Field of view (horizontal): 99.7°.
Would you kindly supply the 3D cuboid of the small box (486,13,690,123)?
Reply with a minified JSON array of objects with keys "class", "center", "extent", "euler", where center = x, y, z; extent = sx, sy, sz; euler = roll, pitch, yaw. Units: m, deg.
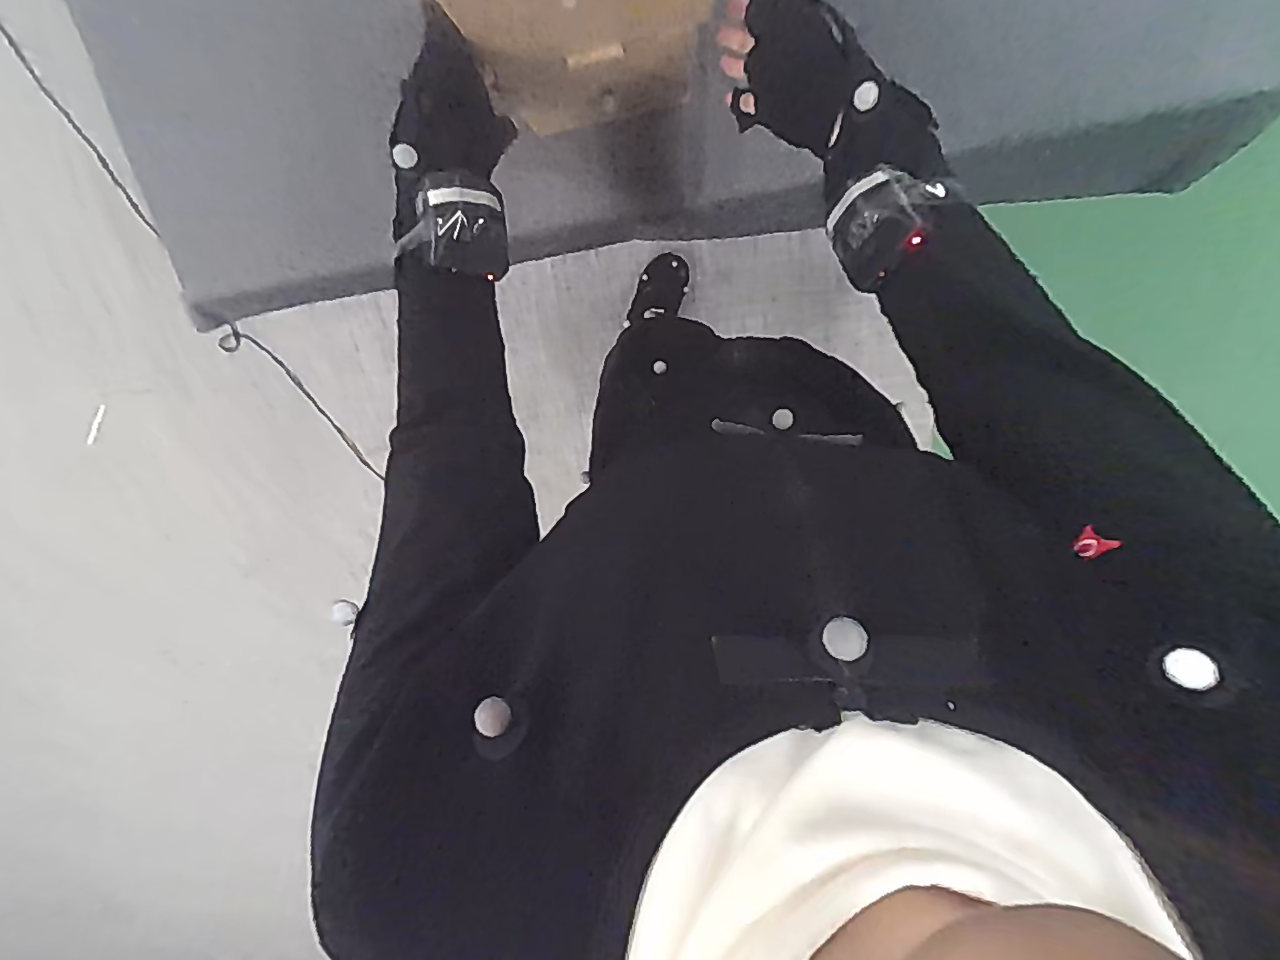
[{"class":"small box","center":[-0.049,-0.437,0.468],"extent":[0.168,0.176,0.179],"euler":[-9,109,6]}]

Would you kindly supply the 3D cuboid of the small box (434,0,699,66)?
[{"class":"small box","center":[-0.049,-0.380,0.314],"extent":[0.179,0.176,0.168],"euler":[-8,108,6]}]
